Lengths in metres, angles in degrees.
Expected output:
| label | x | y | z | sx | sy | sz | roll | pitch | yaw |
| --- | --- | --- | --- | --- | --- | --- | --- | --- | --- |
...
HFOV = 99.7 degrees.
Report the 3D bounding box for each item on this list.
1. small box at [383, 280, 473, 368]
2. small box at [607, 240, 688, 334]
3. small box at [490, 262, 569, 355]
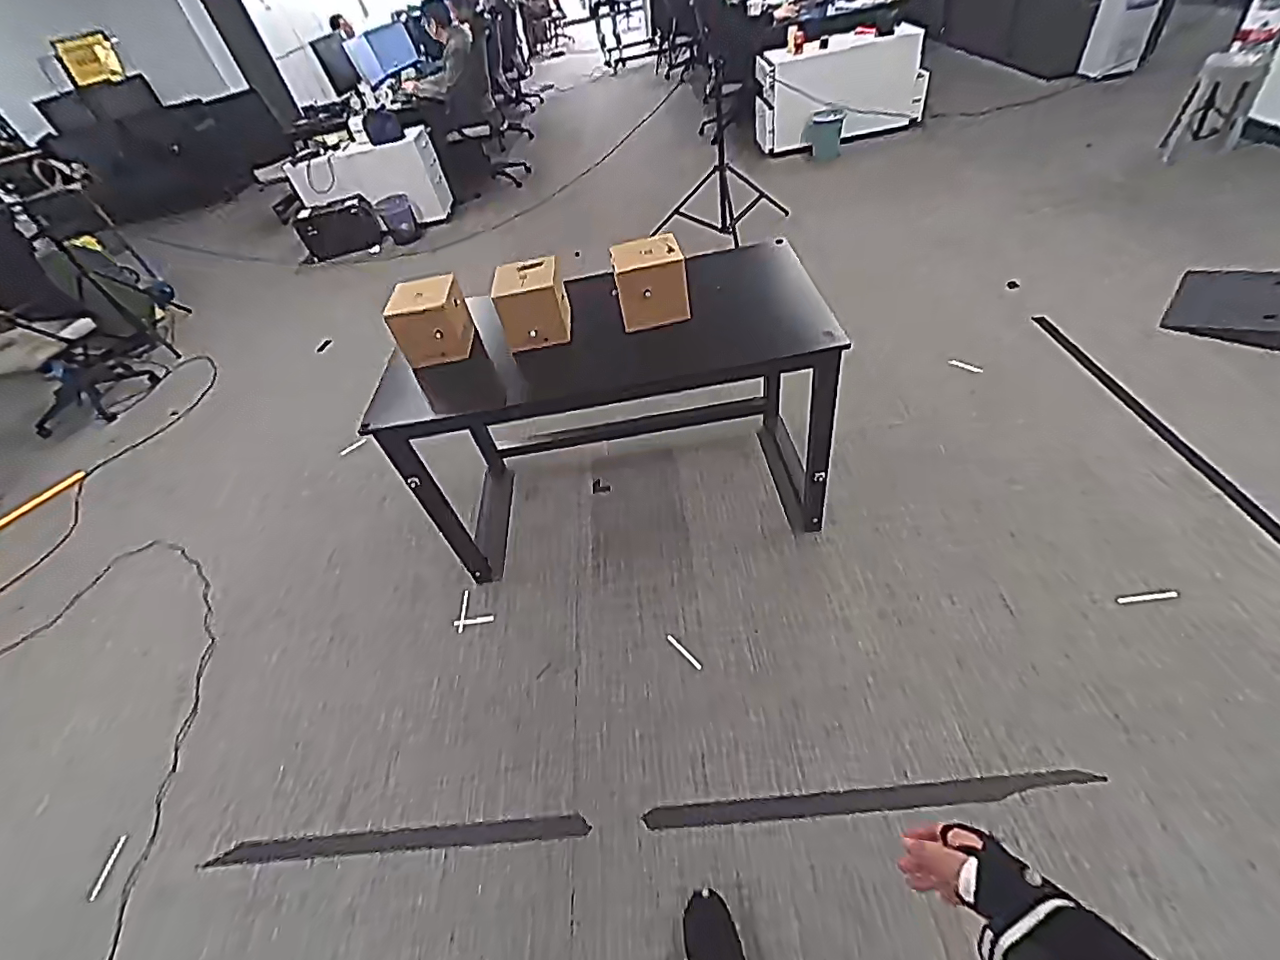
| label | x | y | z | sx | sy | sz | roll | pitch | yaw |
| --- | --- | --- | --- | --- | --- | --- | --- | --- | --- |
| small box | -0.577 | -0.425 | 1.499 | 0.168 | 0.176 | 0.179 | -10 | 45 | 2 |
| small box | 0.020 | -0.512 | 1.448 | 0.179 | 0.176 | 0.168 | -13 | 46 | 1 |
| small box | -0.293 | -0.465 | 1.473 | 0.168 | 0.176 | 0.179 | -10 | 47 | 3 |
